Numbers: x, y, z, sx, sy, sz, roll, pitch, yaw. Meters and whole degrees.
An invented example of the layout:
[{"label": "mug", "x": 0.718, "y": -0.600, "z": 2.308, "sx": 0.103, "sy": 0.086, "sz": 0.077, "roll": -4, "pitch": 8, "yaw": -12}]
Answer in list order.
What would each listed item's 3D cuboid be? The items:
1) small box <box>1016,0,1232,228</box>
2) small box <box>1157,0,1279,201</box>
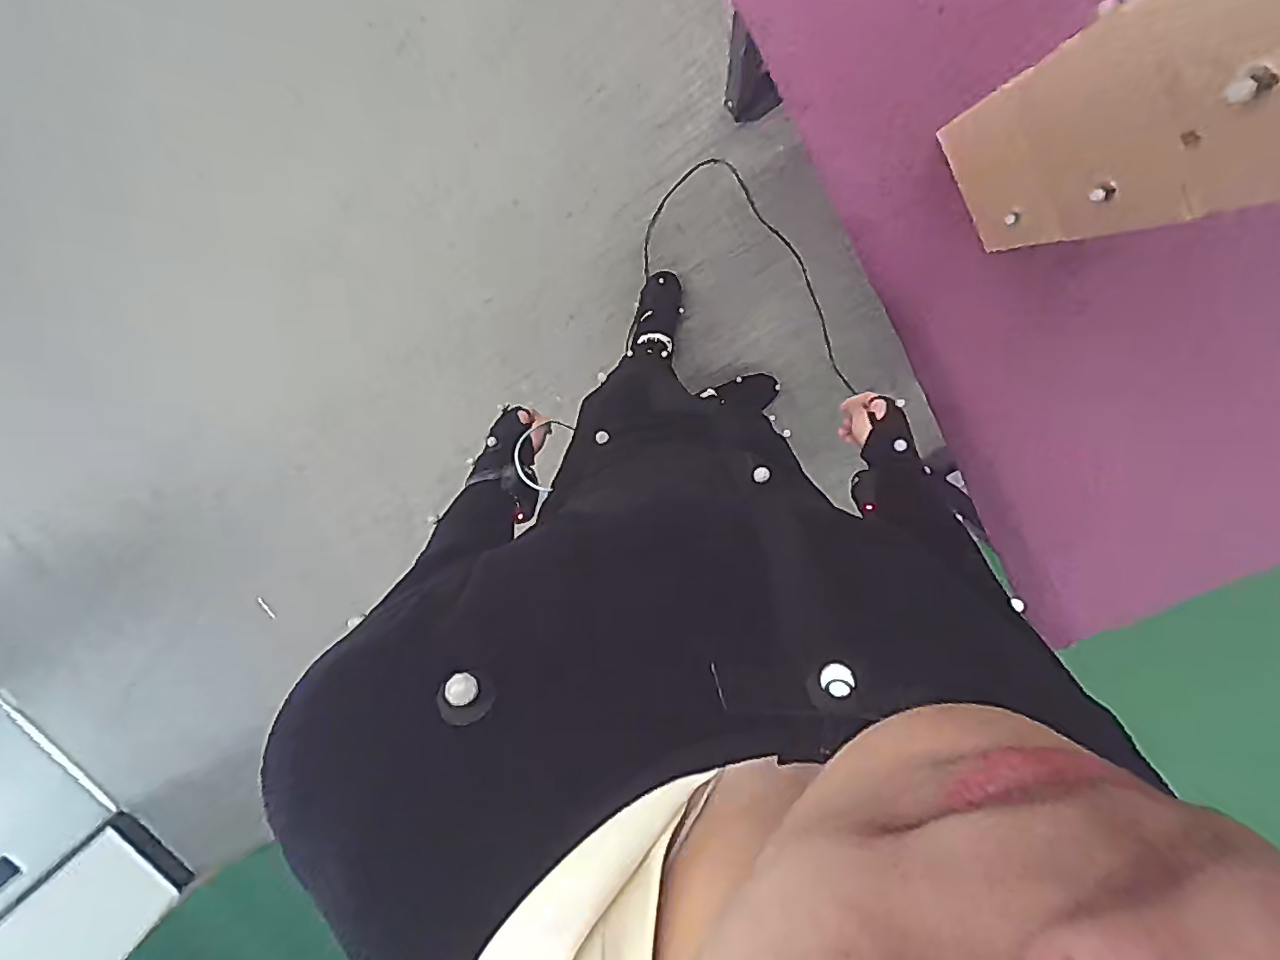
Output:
[{"label": "small box", "x": 0.481, "y": -0.344, "z": 0.474, "sx": 0.168, "sy": 0.176, "sz": 0.179, "roll": -29, "pitch": 102, "yaw": 15}, {"label": "small box", "x": 0.468, "y": -0.296, "z": 0.319, "sx": 0.179, "sy": 0.176, "sz": 0.168, "roll": -30, "pitch": 103, "yaw": 15}]
